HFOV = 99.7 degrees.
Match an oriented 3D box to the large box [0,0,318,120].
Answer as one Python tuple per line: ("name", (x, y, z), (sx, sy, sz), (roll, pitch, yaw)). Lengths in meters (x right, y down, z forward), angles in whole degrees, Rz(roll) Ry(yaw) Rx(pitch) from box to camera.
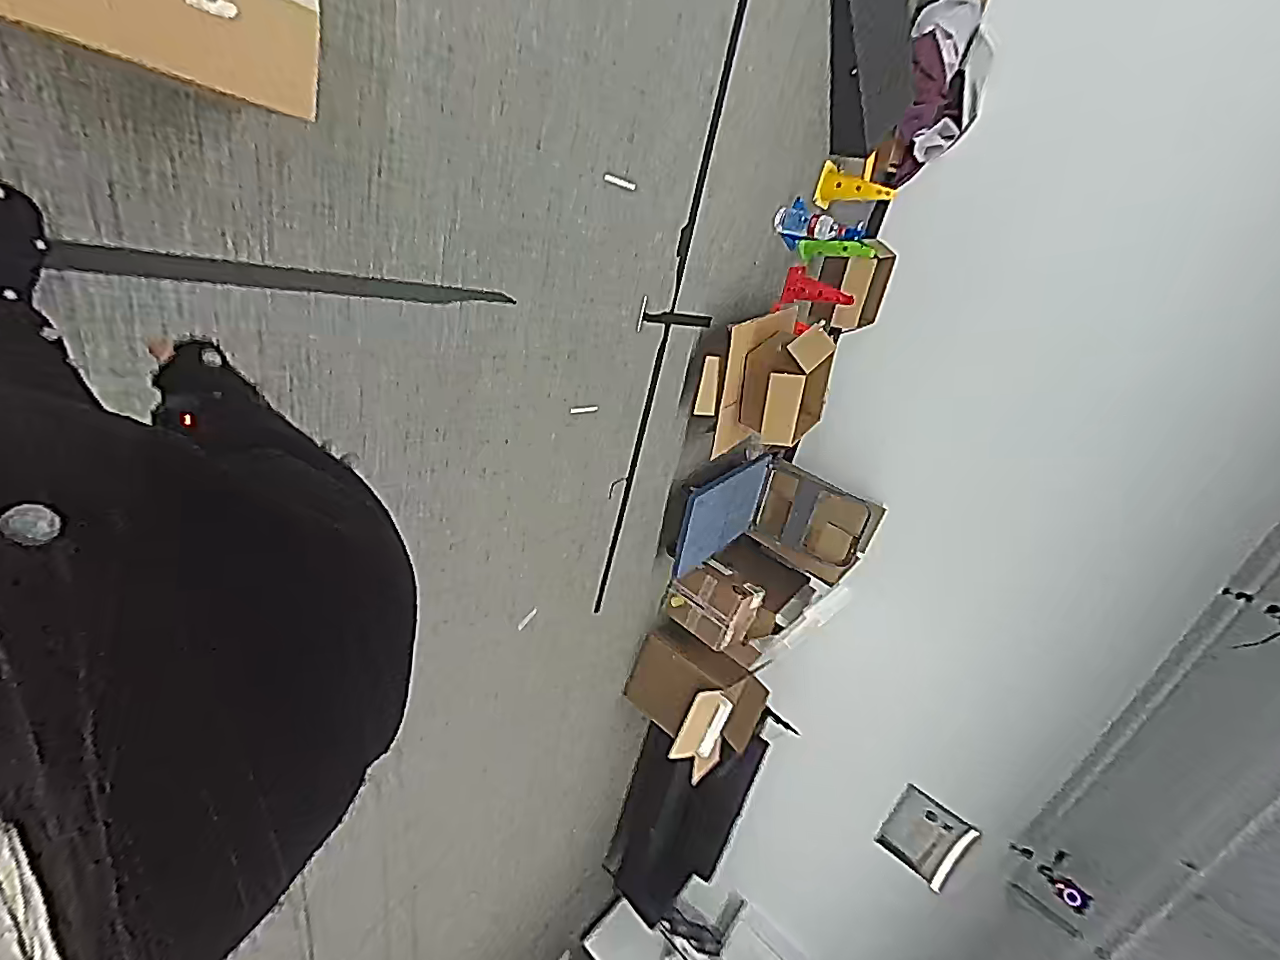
("large box", (-0.723, -0.744, 0.738), (0.408, 0.320, 0.320), (-14, 126, -52))
